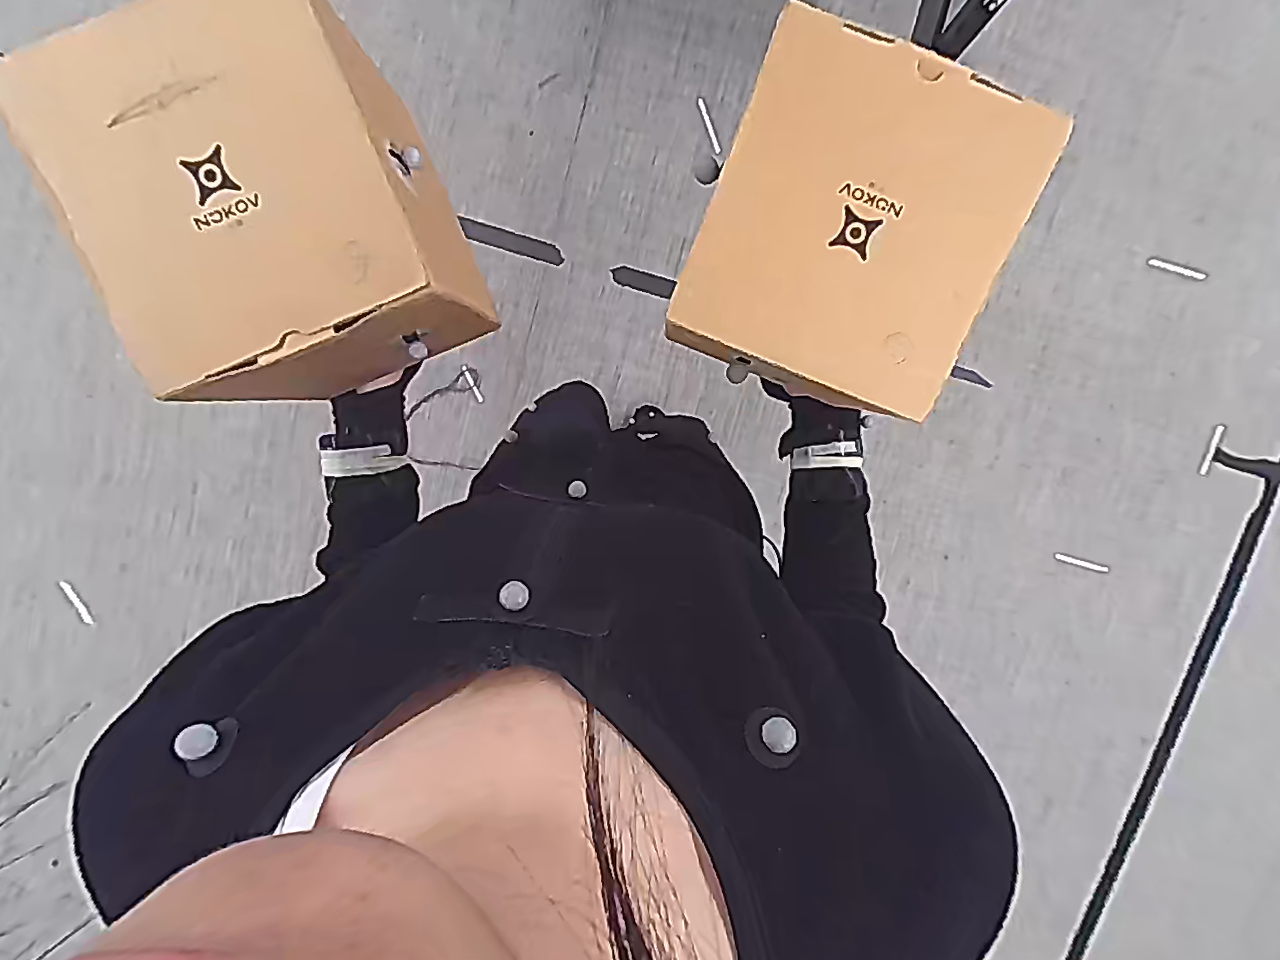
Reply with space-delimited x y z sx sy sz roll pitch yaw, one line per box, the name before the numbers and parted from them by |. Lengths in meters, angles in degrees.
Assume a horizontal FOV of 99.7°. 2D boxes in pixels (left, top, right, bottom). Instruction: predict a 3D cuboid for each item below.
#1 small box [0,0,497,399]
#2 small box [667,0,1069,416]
small box | -0.214 -0.164 0.356 0.168 0.176 0.179 -22 98 1
small box | 0.127 -0.159 0.379 0.168 0.176 0.179 22 100 -1
